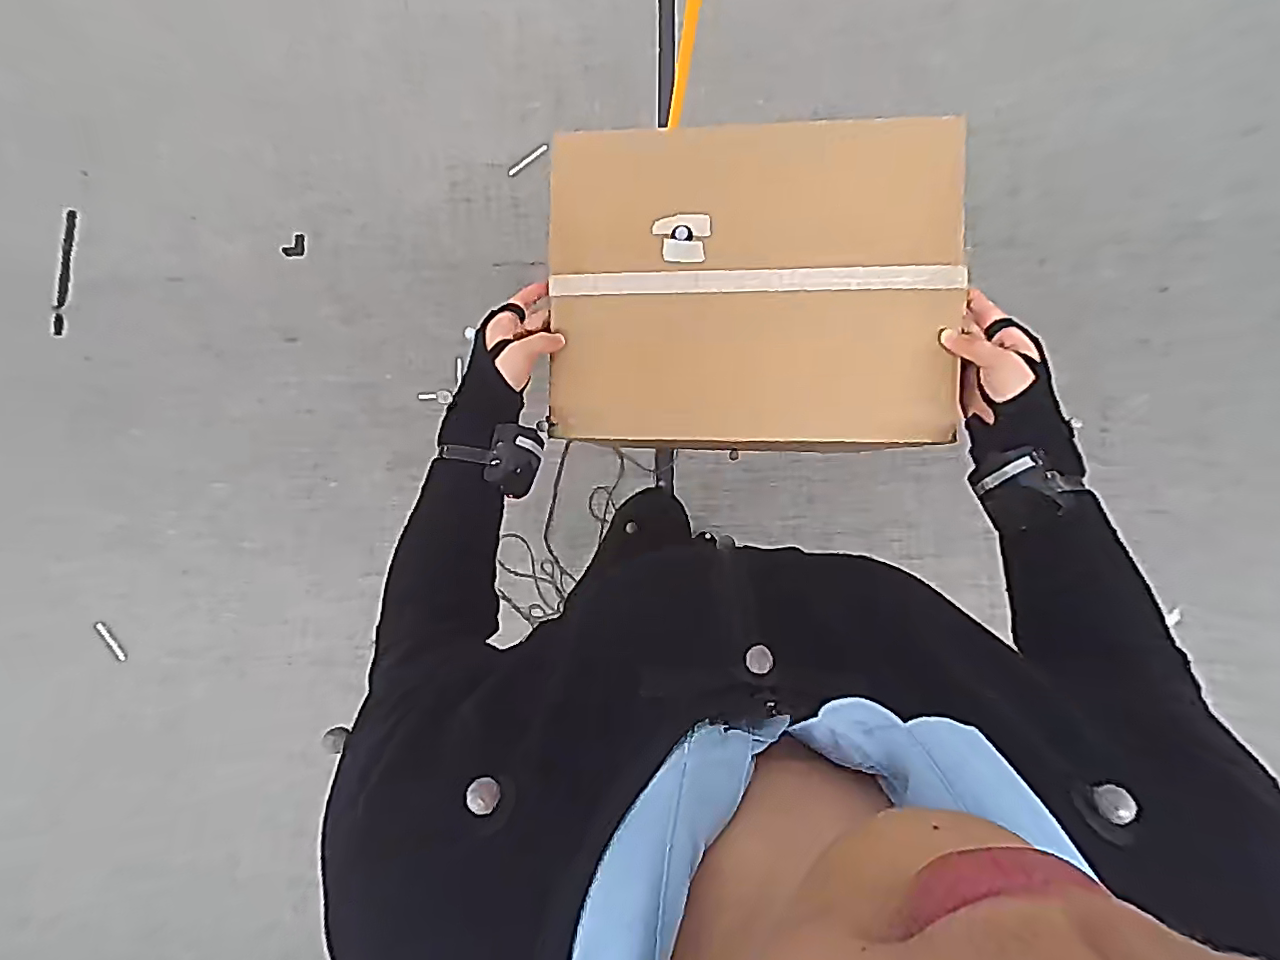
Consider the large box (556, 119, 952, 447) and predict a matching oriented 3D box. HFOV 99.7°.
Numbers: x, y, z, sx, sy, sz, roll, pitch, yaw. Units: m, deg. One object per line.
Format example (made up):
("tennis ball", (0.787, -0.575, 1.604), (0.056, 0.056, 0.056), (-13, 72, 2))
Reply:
("large box", (0.127, -0.203, 0.700), (0.408, 0.320, 0.320), (0, 90, 6))
